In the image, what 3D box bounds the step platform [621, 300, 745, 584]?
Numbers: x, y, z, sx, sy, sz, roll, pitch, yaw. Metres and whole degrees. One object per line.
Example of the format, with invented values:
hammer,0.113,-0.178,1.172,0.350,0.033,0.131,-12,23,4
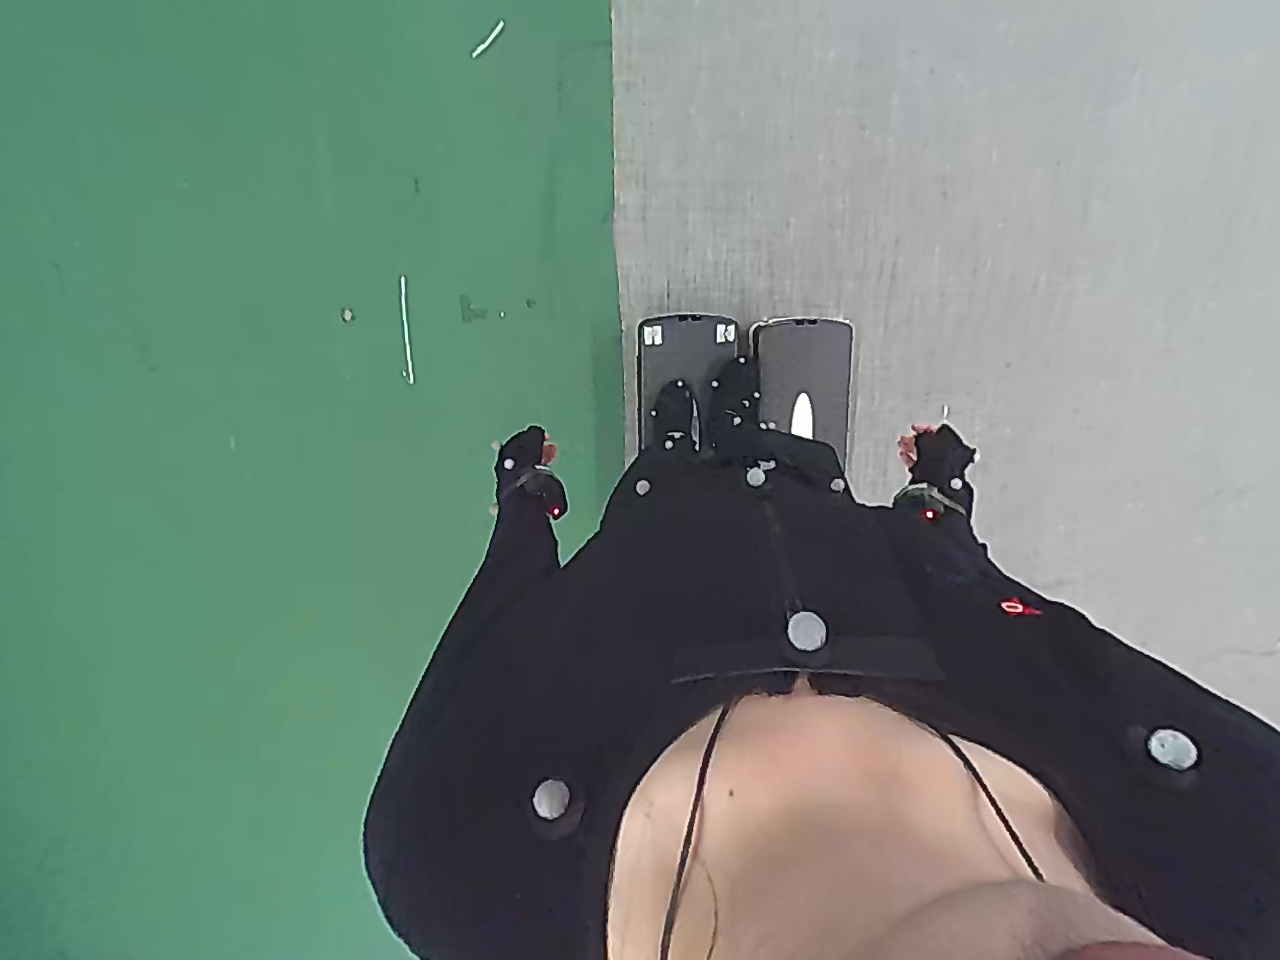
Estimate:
step platform,0.105,-0.092,1.377,0.286,0.204,0.684,-1,102,1
